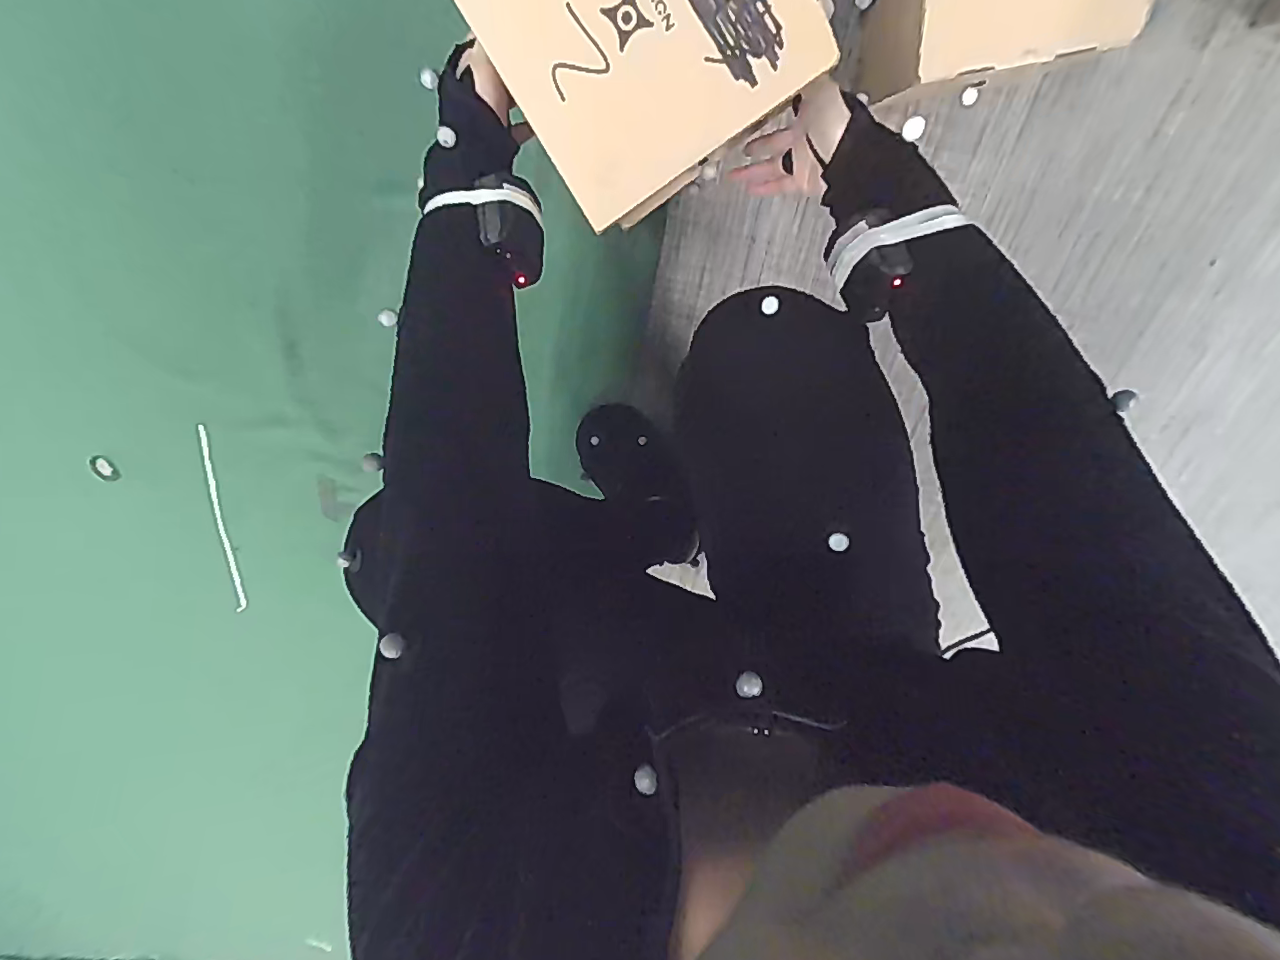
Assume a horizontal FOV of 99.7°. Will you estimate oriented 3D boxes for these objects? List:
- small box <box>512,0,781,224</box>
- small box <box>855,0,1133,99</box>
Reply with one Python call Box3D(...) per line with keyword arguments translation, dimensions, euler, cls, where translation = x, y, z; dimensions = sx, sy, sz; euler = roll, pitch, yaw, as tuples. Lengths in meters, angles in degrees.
Box3D(translation=(0.011, -0.375, 0.525), dimensions=(0.179, 0.176, 0.168), euler=(-30, 113, 17), cls="small box")
Box3D(translation=(0.294, -0.447, 0.466), dimensions=(0.168, 0.176, 0.179), euler=(-5, 119, 7), cls="small box")
